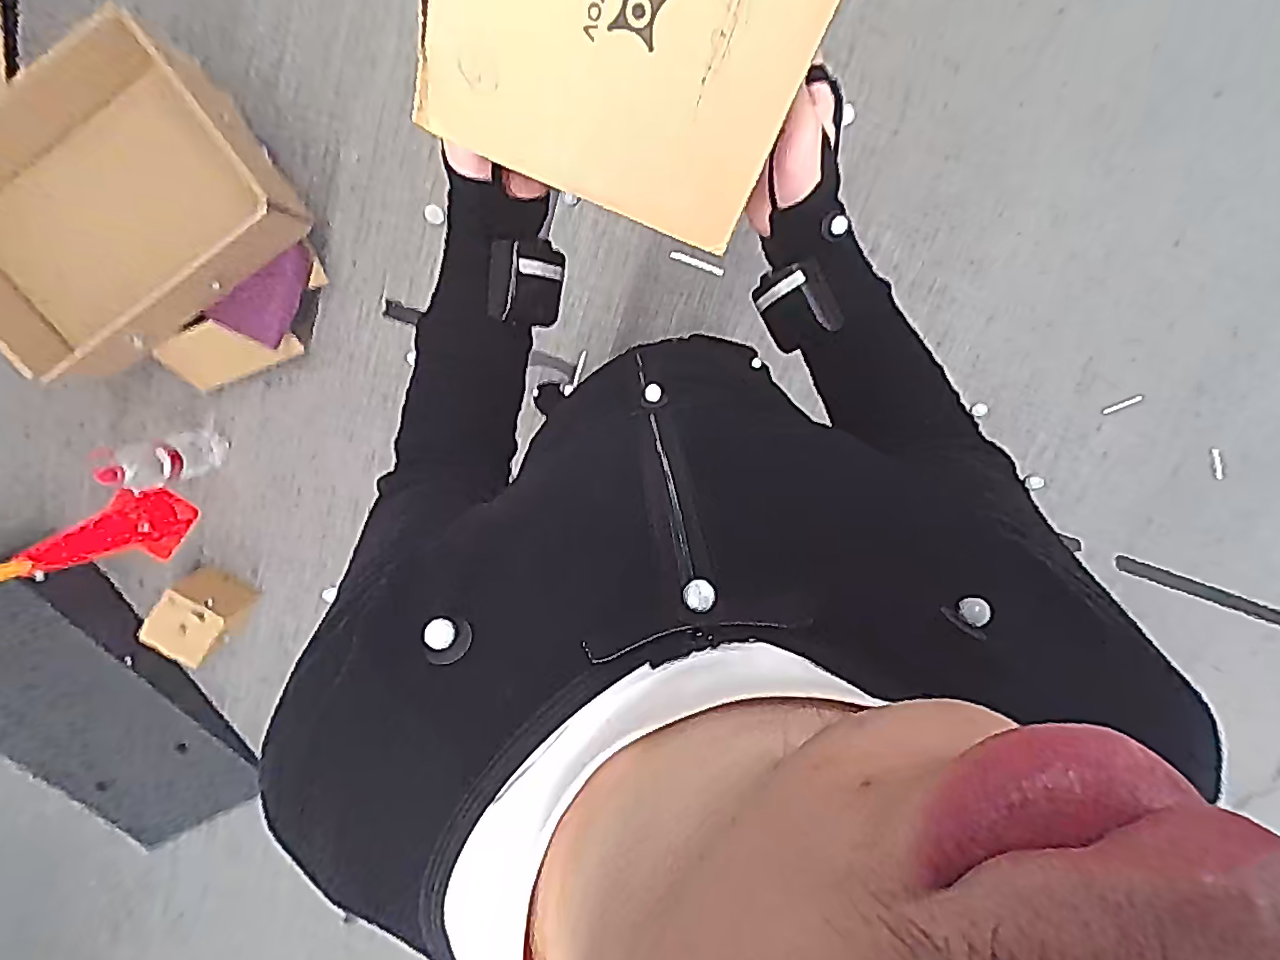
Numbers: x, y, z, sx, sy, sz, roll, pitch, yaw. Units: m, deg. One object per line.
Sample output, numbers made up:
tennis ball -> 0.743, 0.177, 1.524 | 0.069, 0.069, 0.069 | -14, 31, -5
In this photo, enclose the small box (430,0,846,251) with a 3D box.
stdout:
small box -> 0.001, -0.267, 0.319 | 0.179, 0.176, 0.168 | 18, 126, -13
